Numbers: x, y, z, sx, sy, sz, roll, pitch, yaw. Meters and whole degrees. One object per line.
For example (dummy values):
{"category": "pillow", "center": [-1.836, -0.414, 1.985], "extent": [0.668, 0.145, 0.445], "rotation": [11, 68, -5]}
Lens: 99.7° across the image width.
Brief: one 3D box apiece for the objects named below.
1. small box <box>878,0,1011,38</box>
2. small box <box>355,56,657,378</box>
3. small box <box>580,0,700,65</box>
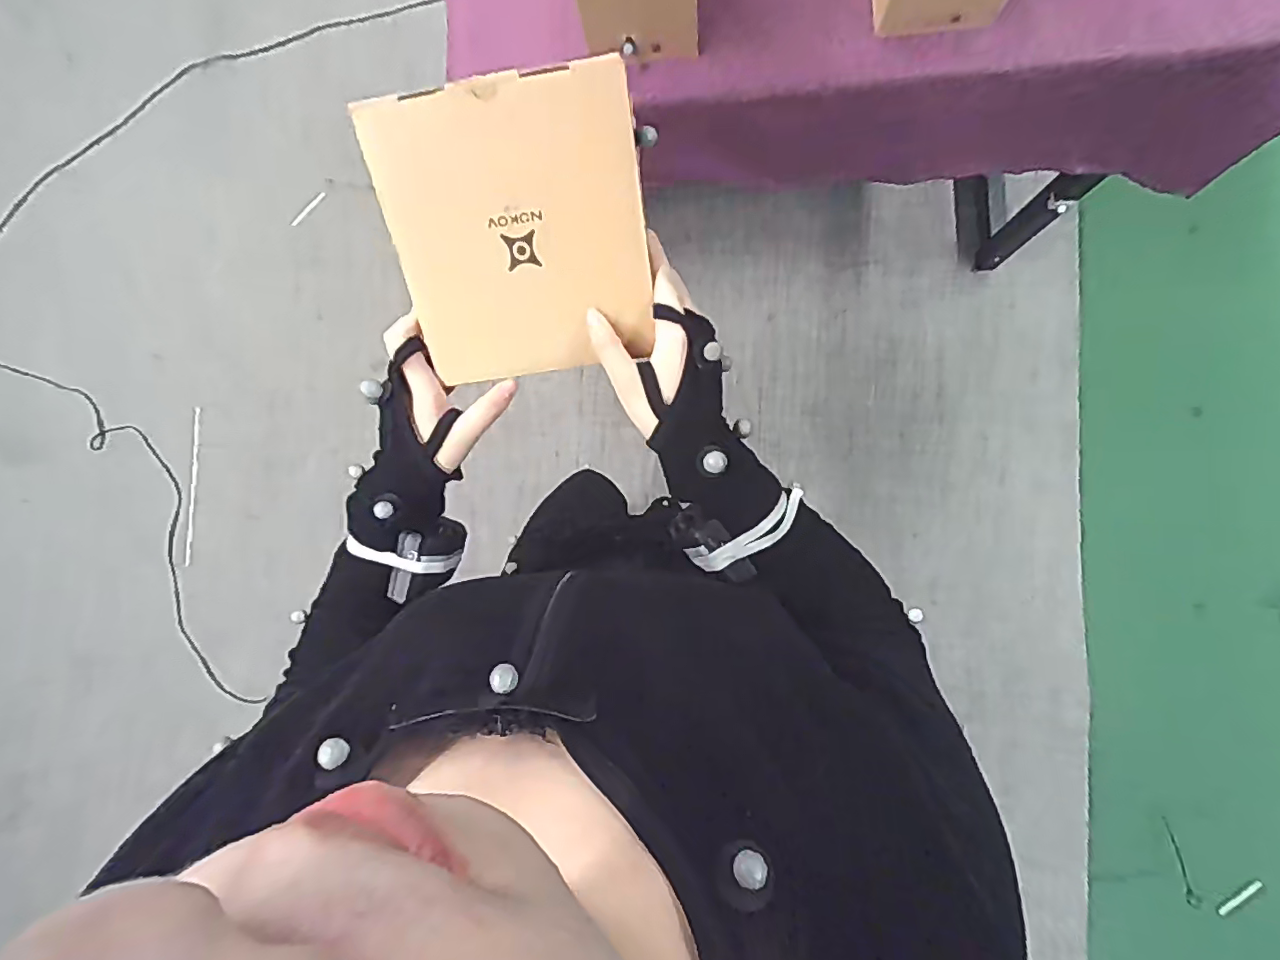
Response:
{"category": "small box", "center": [0.418, -0.734, 0.705], "extent": [0.168, 0.176, 0.179], "rotation": [-1, 86, 7]}
{"category": "small box", "center": [-0.077, -0.198, 0.424], "extent": [0.168, 0.176, 0.179], "rotation": [-7, 119, 4]}
{"category": "small box", "center": [0.000, -0.723, 0.746], "extent": [0.168, 0.176, 0.179], "rotation": [0, 87, 6]}
